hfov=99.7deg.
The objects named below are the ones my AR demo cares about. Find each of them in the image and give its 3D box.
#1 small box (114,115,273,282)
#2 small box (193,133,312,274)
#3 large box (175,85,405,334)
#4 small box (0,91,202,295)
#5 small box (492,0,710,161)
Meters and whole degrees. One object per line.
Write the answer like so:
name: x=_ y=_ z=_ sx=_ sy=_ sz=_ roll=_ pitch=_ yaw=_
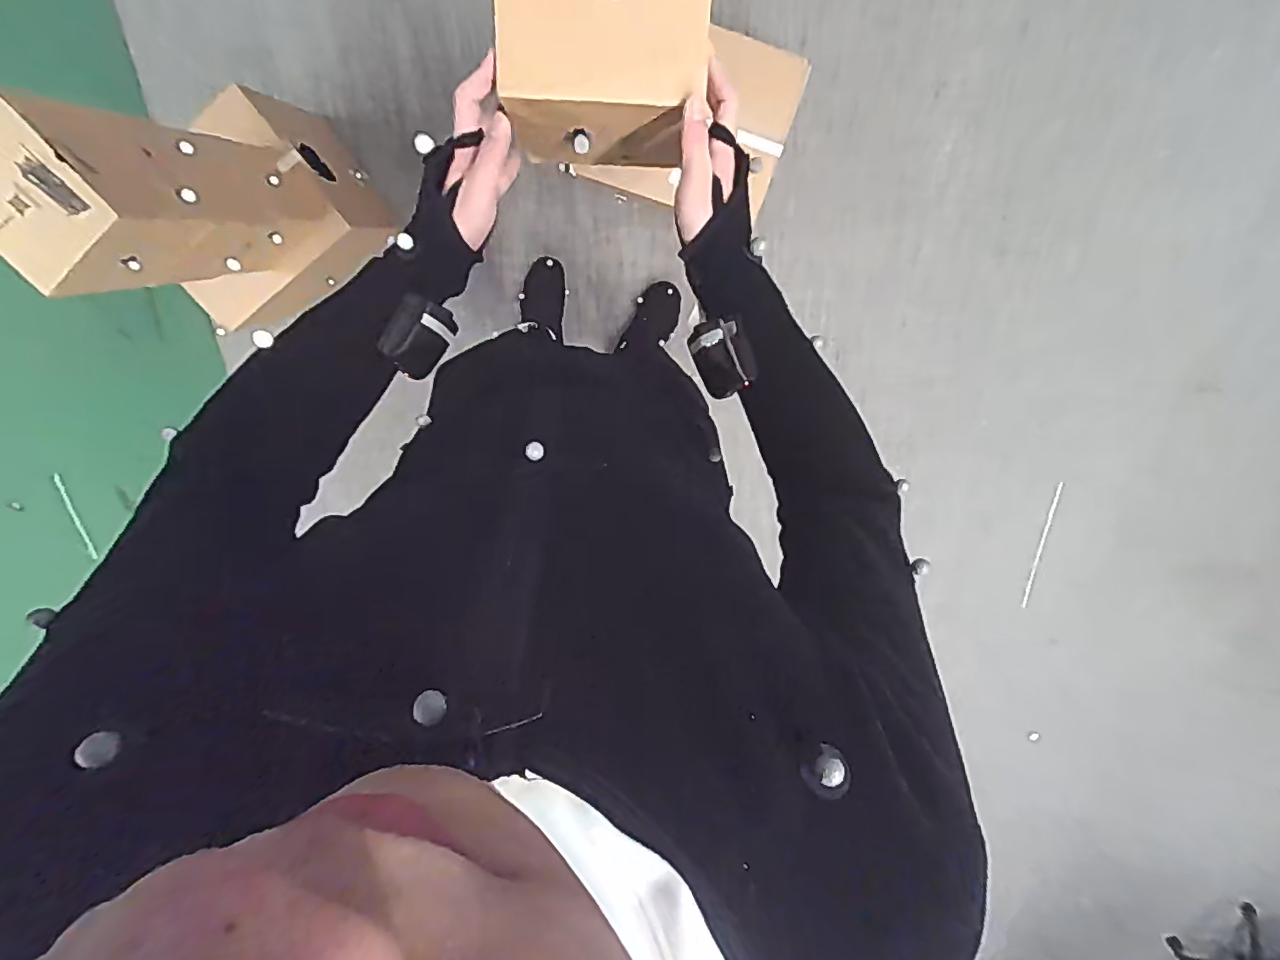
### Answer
small box: x=-0.771 y=-0.453 z=0.894 sx=0.168 sy=0.176 sz=0.179 roll=-30 pitch=111 yaw=13
small box: x=-0.776 y=-0.523 z=1.040 sx=0.179 sy=0.176 sz=0.168 roll=-32 pitch=110 yaw=14
large box: x=-0.852 y=-0.609 z=1.272 sx=0.408 sy=0.320 sz=0.320 roll=-32 pitch=109 yaw=14
small box: x=-0.766 y=-0.384 z=0.745 sx=0.179 sy=0.176 sz=0.168 roll=-32 pitch=110 yaw=15
small box: x=-0.029 y=-0.398 z=0.471 sx=0.168 sy=0.176 sz=0.179 roll=1 pitch=105 yaw=-2
